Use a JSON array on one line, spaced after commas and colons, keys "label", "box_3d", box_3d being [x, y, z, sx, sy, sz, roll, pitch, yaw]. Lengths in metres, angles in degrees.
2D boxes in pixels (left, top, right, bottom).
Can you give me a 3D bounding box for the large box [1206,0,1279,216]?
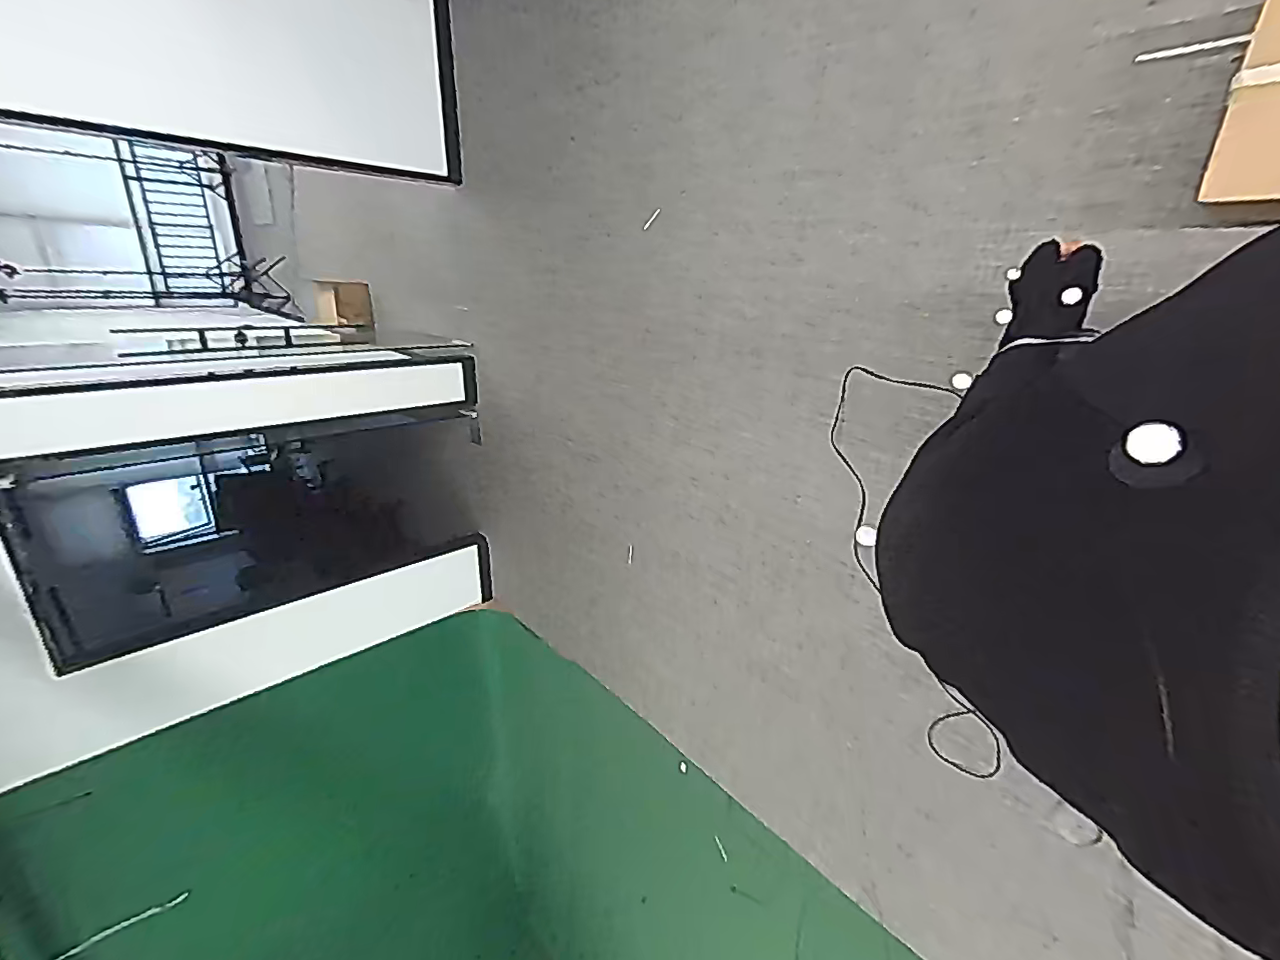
[{"label": "large box", "box_3d": [1.082, -0.549, 0.713, 0.408, 0.320, 0.320, 22, 118, 43]}]
